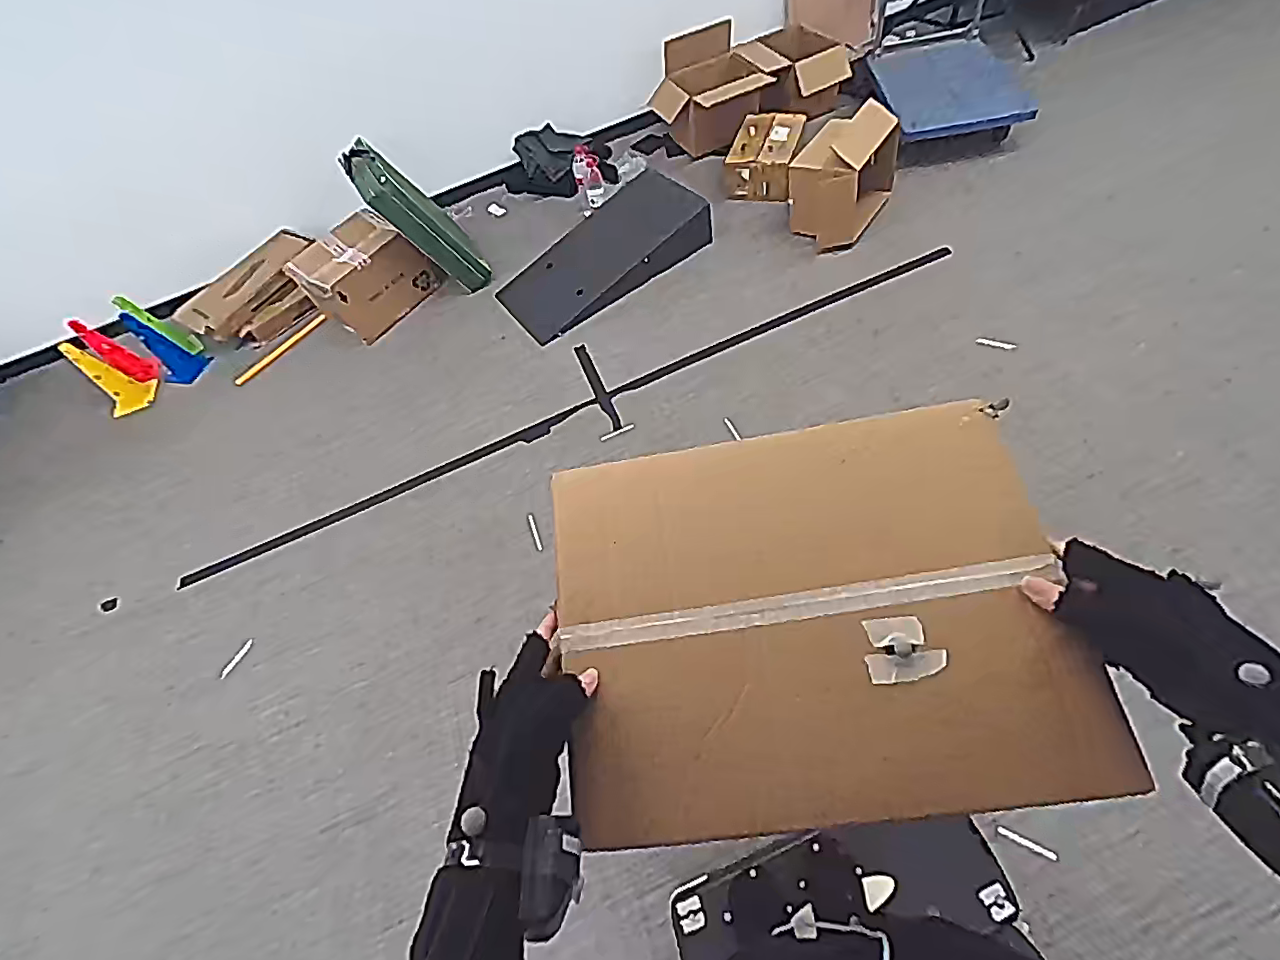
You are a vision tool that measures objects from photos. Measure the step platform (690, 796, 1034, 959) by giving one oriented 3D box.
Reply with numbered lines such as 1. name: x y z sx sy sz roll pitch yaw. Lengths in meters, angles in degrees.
1. step platform: 0.454 0.890 1.168 0.684 0.204 0.286 -24 56 -5

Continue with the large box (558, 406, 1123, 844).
1. large box: 0.153 0.161 0.594 0.408 0.320 0.320 -10 68 5
